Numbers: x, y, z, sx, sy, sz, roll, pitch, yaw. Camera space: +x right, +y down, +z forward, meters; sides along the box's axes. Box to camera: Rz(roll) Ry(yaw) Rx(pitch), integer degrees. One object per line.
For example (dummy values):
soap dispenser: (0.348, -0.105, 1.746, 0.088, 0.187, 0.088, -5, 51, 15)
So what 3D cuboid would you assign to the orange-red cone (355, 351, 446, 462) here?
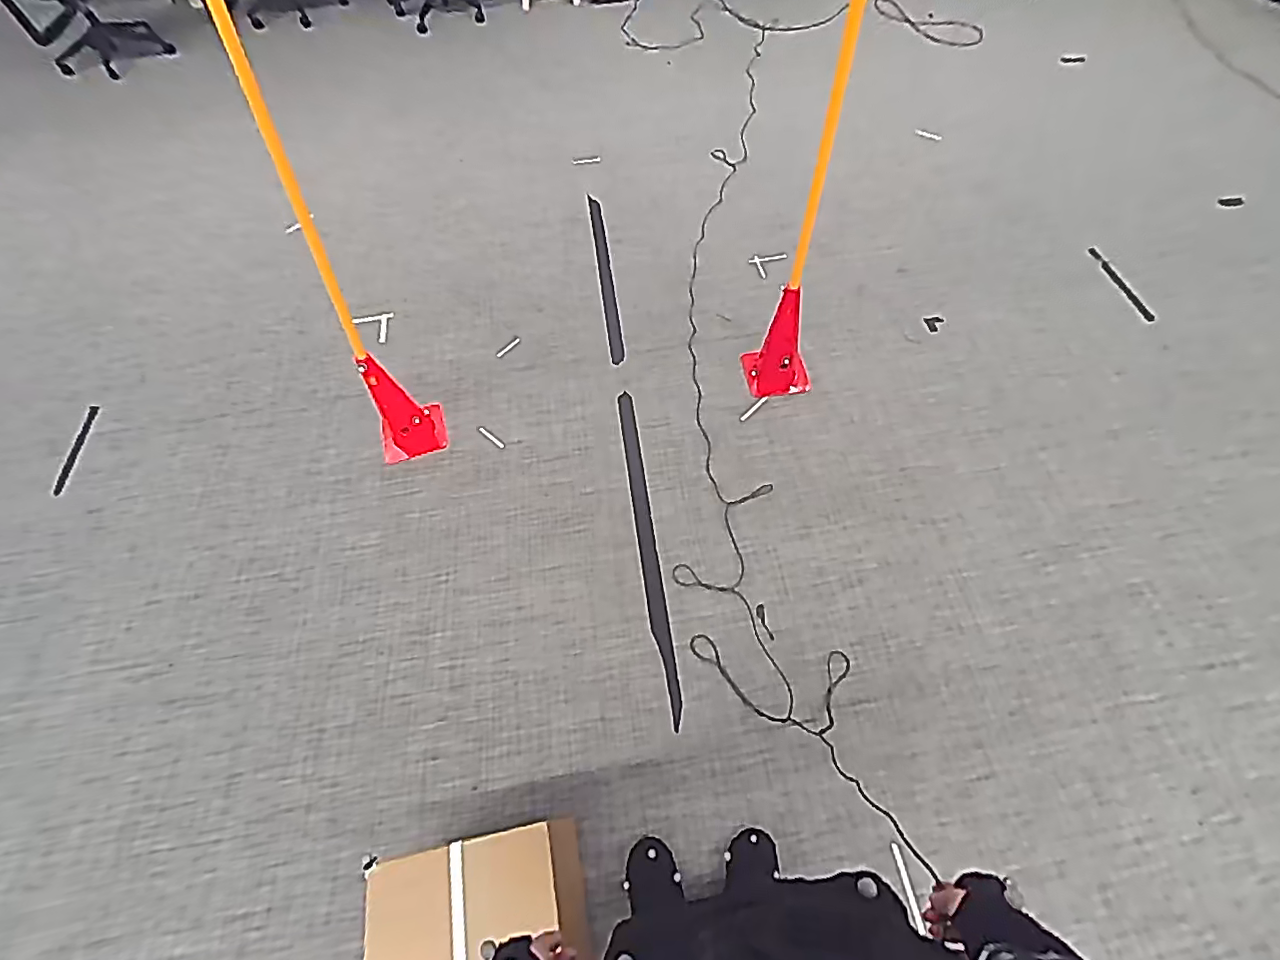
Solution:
orange-red cone: (-0.745, -0.243, 1.612, 0.199, 0.360, 0.198, -17, 59, -5)
